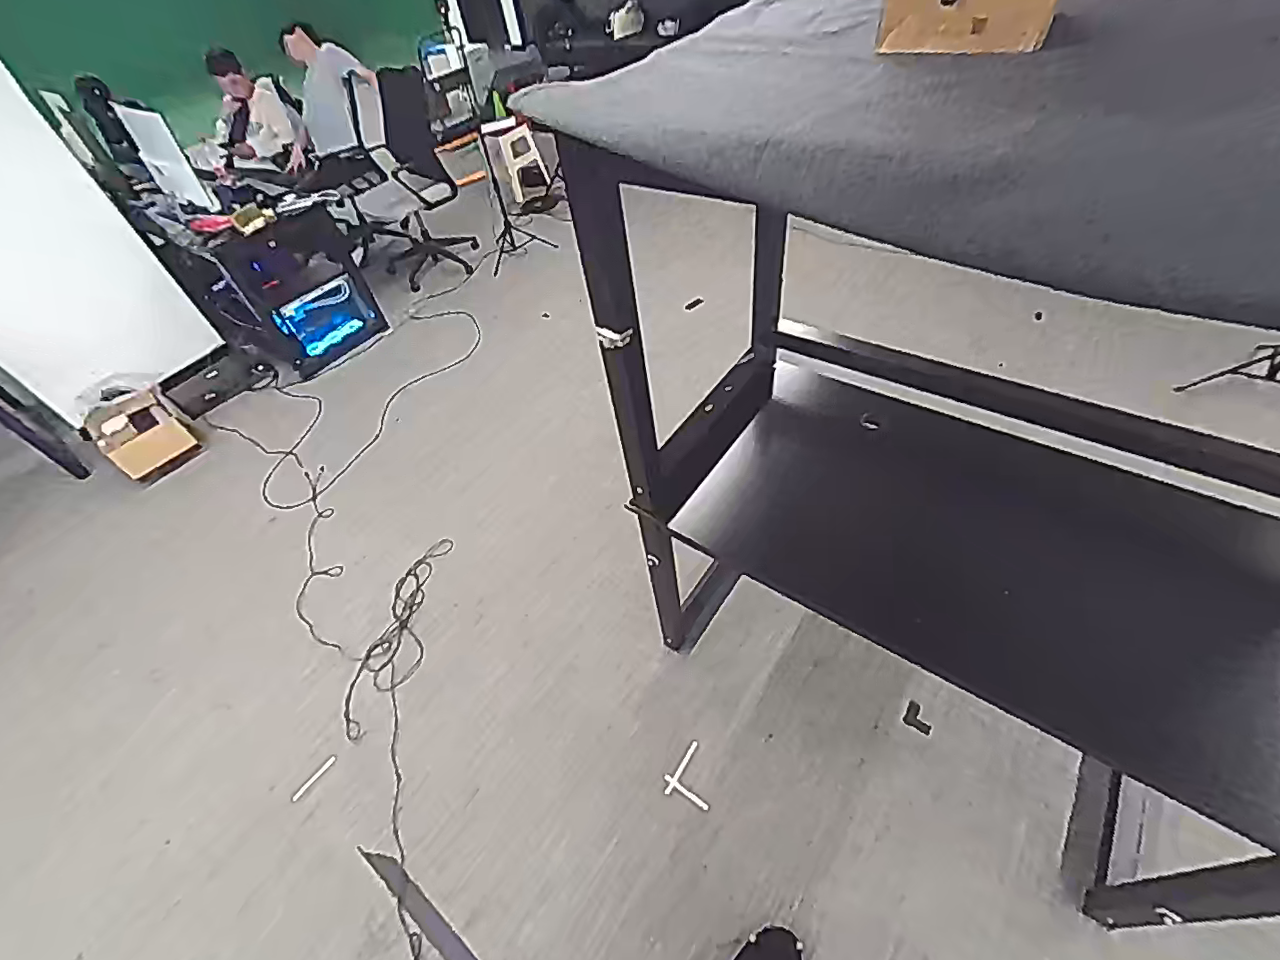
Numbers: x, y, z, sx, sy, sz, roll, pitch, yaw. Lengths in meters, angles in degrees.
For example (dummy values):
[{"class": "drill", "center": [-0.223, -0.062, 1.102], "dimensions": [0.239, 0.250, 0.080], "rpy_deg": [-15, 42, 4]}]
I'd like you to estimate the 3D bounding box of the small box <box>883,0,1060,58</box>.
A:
[{"class": "small box", "center": [0.379, -0.583, 0.581], "dimensions": [0.168, 0.176, 0.179], "rpy_deg": [20, 56, 24]}]
